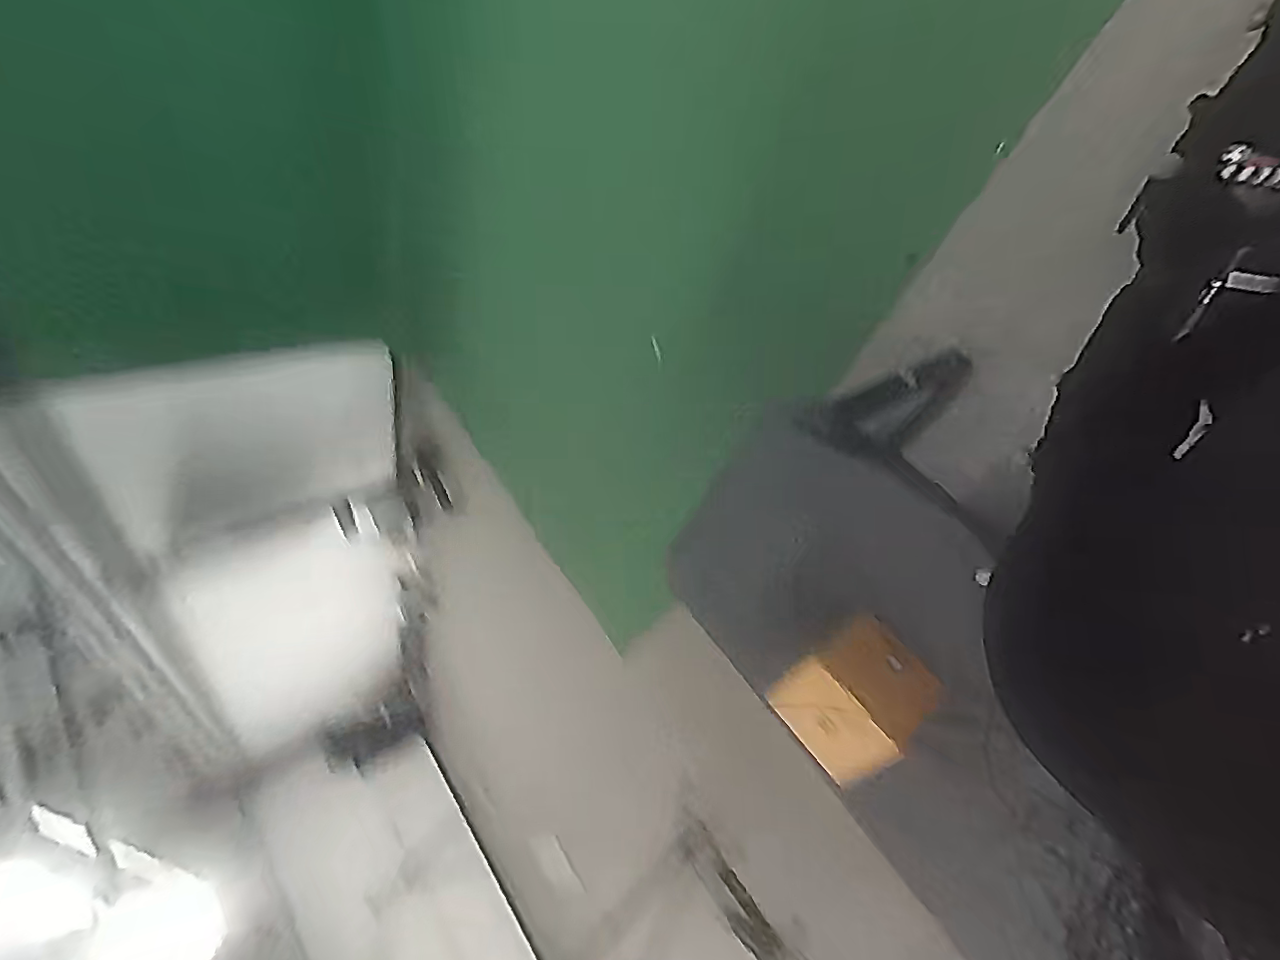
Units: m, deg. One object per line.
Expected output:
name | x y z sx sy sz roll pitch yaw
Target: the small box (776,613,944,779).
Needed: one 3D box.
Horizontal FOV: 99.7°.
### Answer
small box | 0.372 0.360 0.917 0.168 0.176 0.179 47 139 24
